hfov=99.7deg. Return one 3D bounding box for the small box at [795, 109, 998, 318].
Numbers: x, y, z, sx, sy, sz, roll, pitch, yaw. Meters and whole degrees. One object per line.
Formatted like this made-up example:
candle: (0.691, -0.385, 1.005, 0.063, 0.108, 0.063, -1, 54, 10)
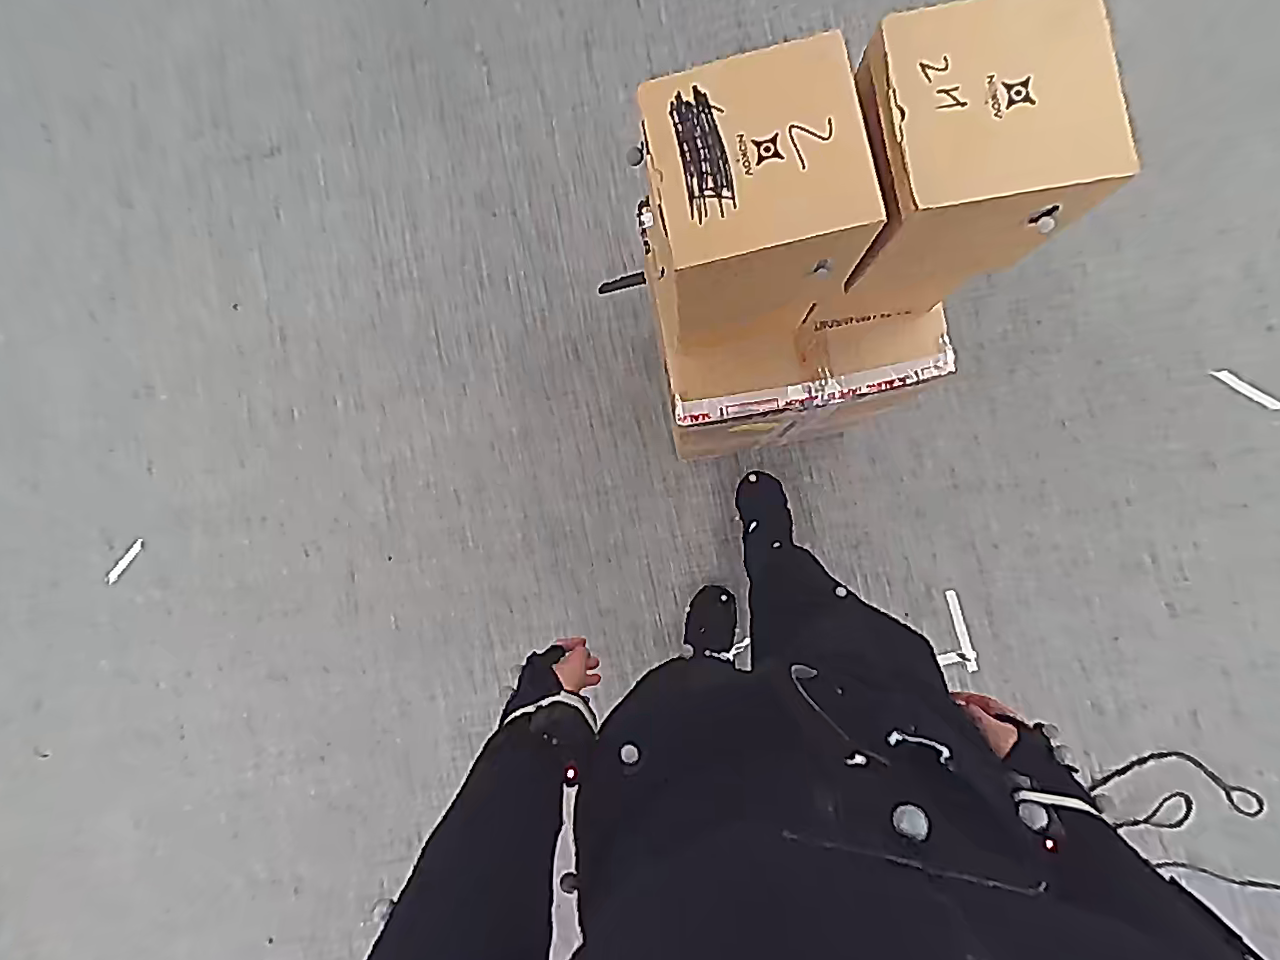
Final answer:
small box: (0.297, -0.312, 0.670, 0.179, 0.176, 0.168, -5, 87, 3)
